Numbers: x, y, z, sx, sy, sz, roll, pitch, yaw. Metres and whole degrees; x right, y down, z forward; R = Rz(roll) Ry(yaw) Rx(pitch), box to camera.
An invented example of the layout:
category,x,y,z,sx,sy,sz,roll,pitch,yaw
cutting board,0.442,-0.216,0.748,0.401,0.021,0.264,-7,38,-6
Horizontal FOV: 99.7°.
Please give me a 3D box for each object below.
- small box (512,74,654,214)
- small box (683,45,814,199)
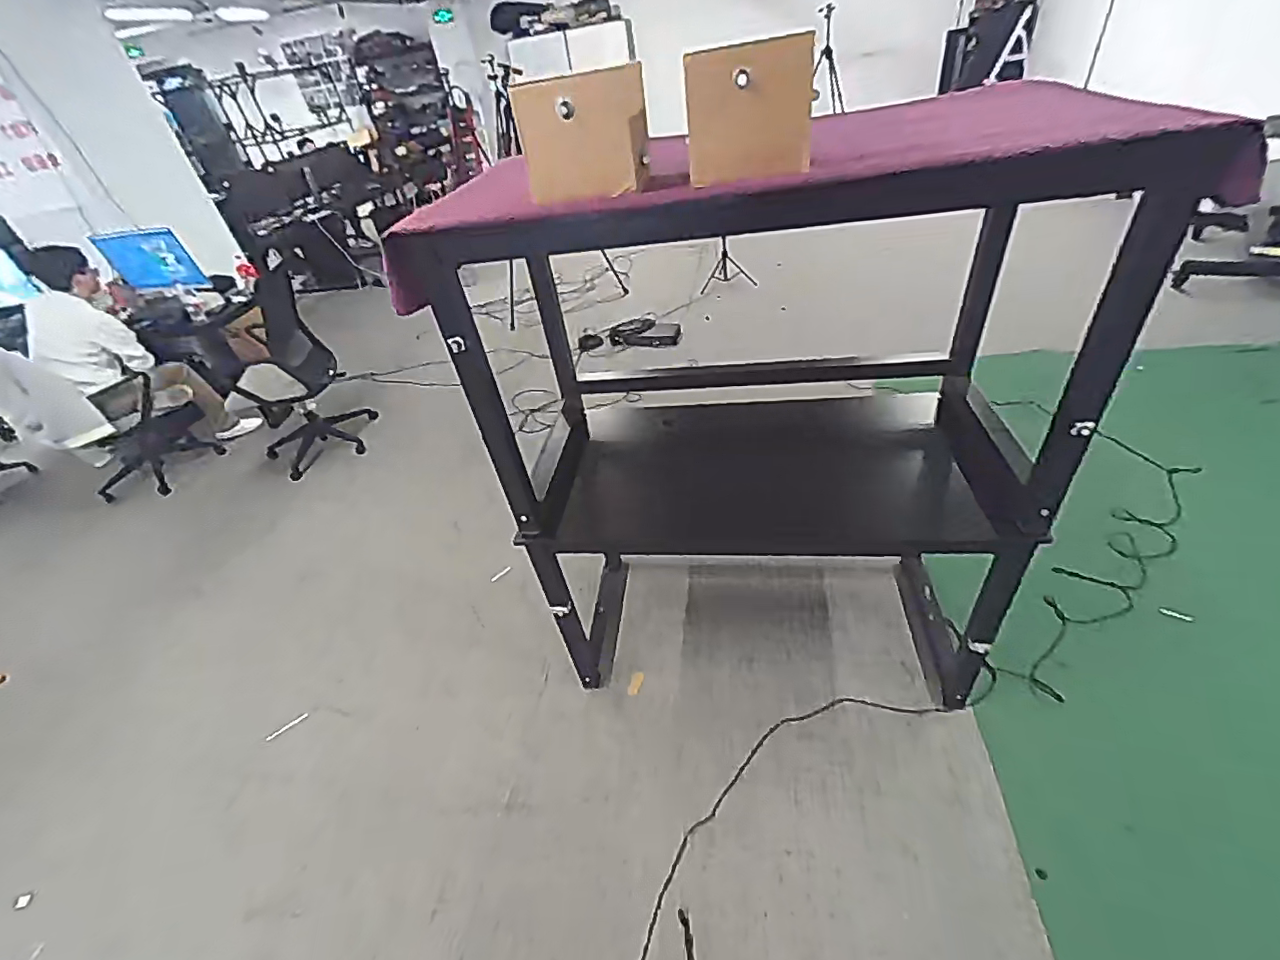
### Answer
category,x,y,z,sx,sy,sz,roll,pitch,yaw
small box,-0.082,-0.550,0.891,0.179,0.176,0.168,0,39,13
small box,0.167,-0.554,0.840,0.179,0.176,0.168,-3,37,11
